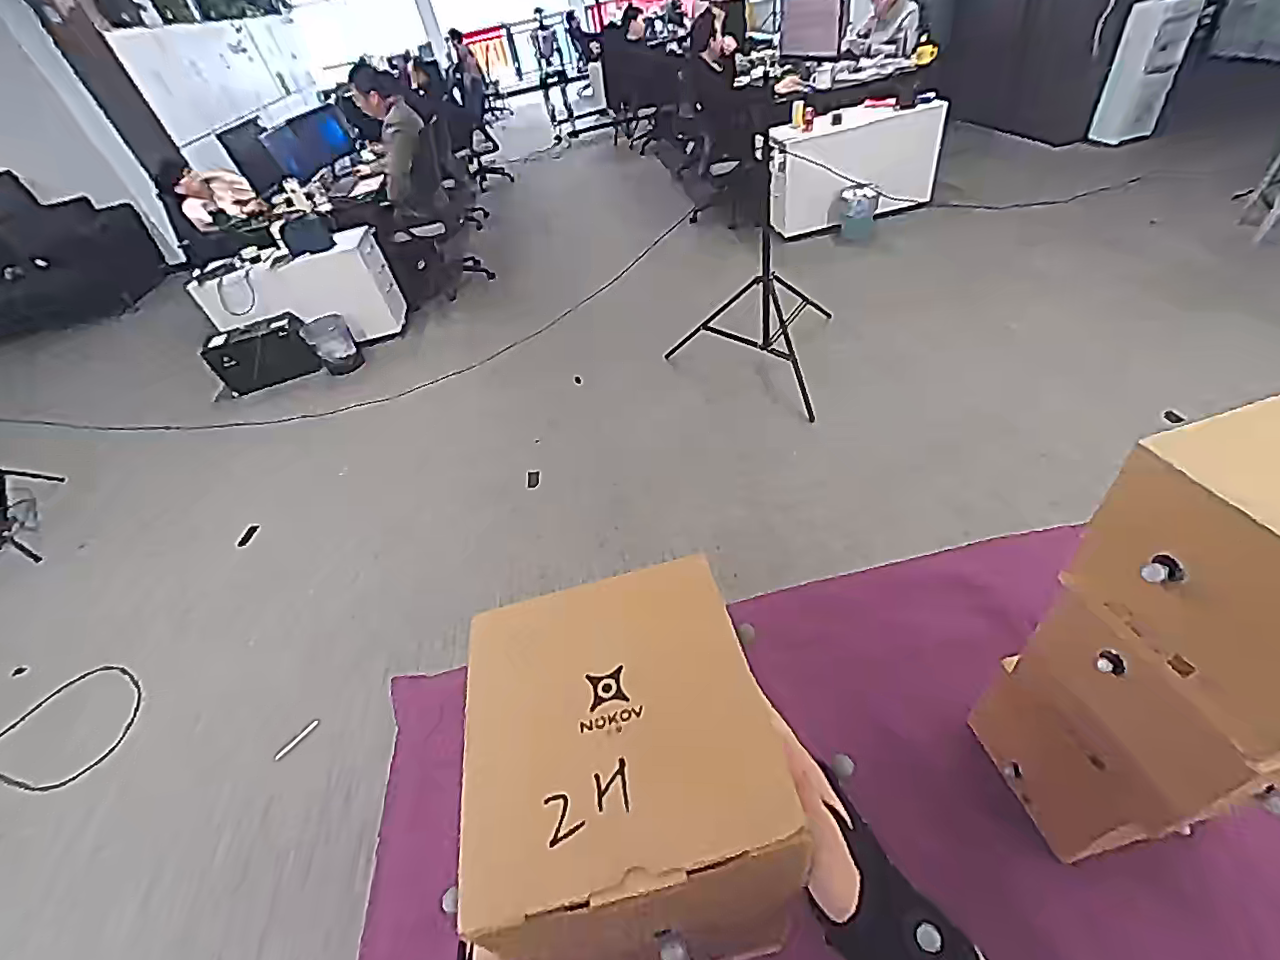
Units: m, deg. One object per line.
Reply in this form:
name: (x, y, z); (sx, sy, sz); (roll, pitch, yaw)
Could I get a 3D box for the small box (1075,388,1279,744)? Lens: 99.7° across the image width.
small box: (0.458, 0.055, 0.380); (0.179, 0.176, 0.168); (-17, 43, -4)

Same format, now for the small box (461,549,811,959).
small box: (-0.004, 0.180, 0.358); (0.168, 0.176, 0.179); (-15, 42, -2)

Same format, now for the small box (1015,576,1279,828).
small box: (0.489, 0.177, 0.485); (0.179, 0.176, 0.168); (-17, 42, -4)
